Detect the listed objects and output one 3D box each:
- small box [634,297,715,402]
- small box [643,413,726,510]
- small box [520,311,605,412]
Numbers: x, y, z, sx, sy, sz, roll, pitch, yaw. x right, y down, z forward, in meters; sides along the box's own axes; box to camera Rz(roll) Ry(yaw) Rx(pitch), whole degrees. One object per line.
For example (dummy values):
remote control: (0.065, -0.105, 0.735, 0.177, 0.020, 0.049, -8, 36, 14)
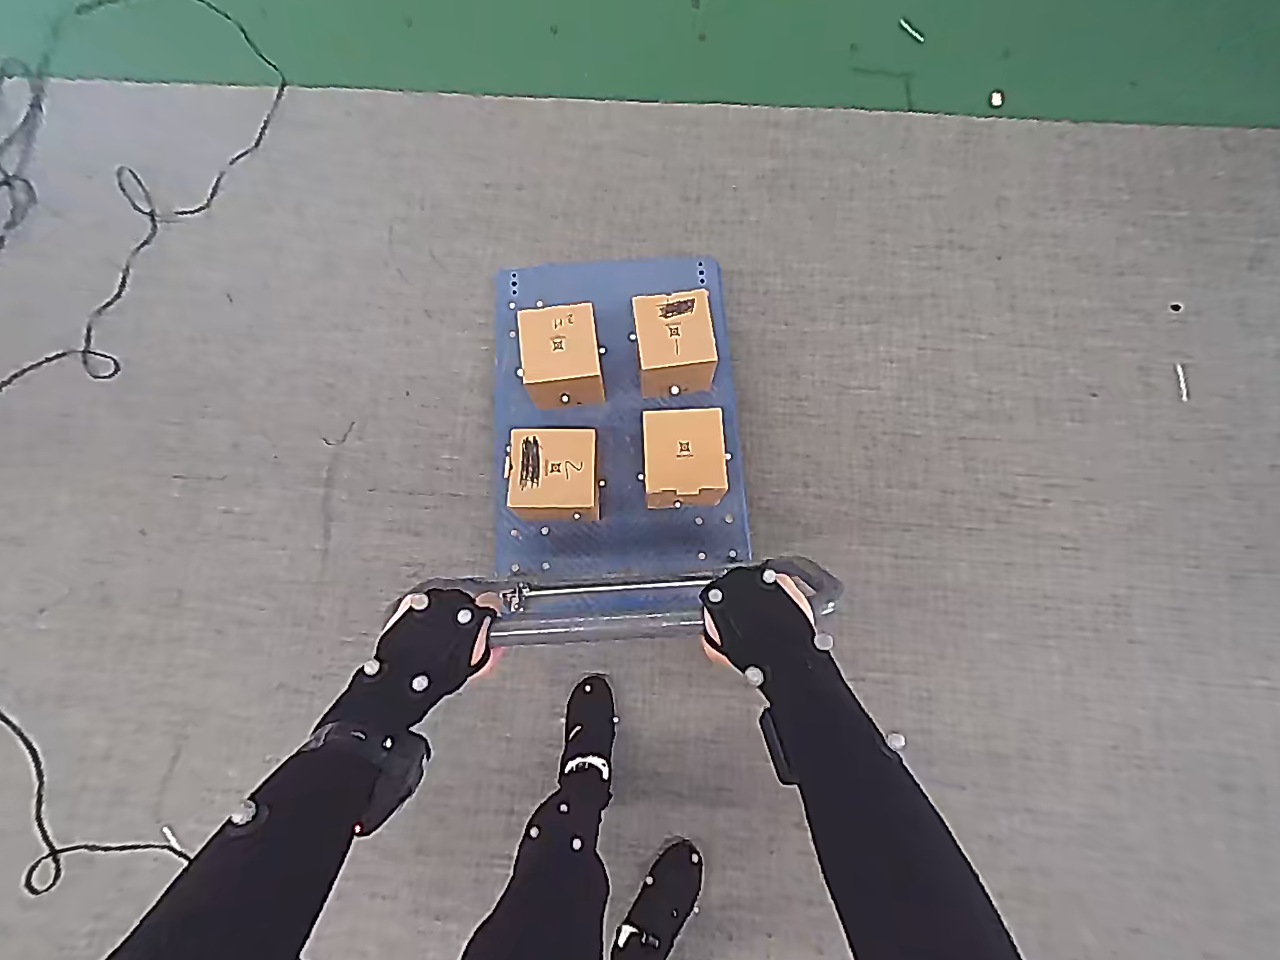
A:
small box: (0.074, -0.299, 1.263, 0.168, 0.176, 0.179, -7, 77, 0)
small box: (0.092, -0.036, 1.201, 0.168, 0.176, 0.179, -3, 77, 0)
small box: (-0.175, -0.266, 1.258, 0.168, 0.176, 0.179, -7, 76, -2)
